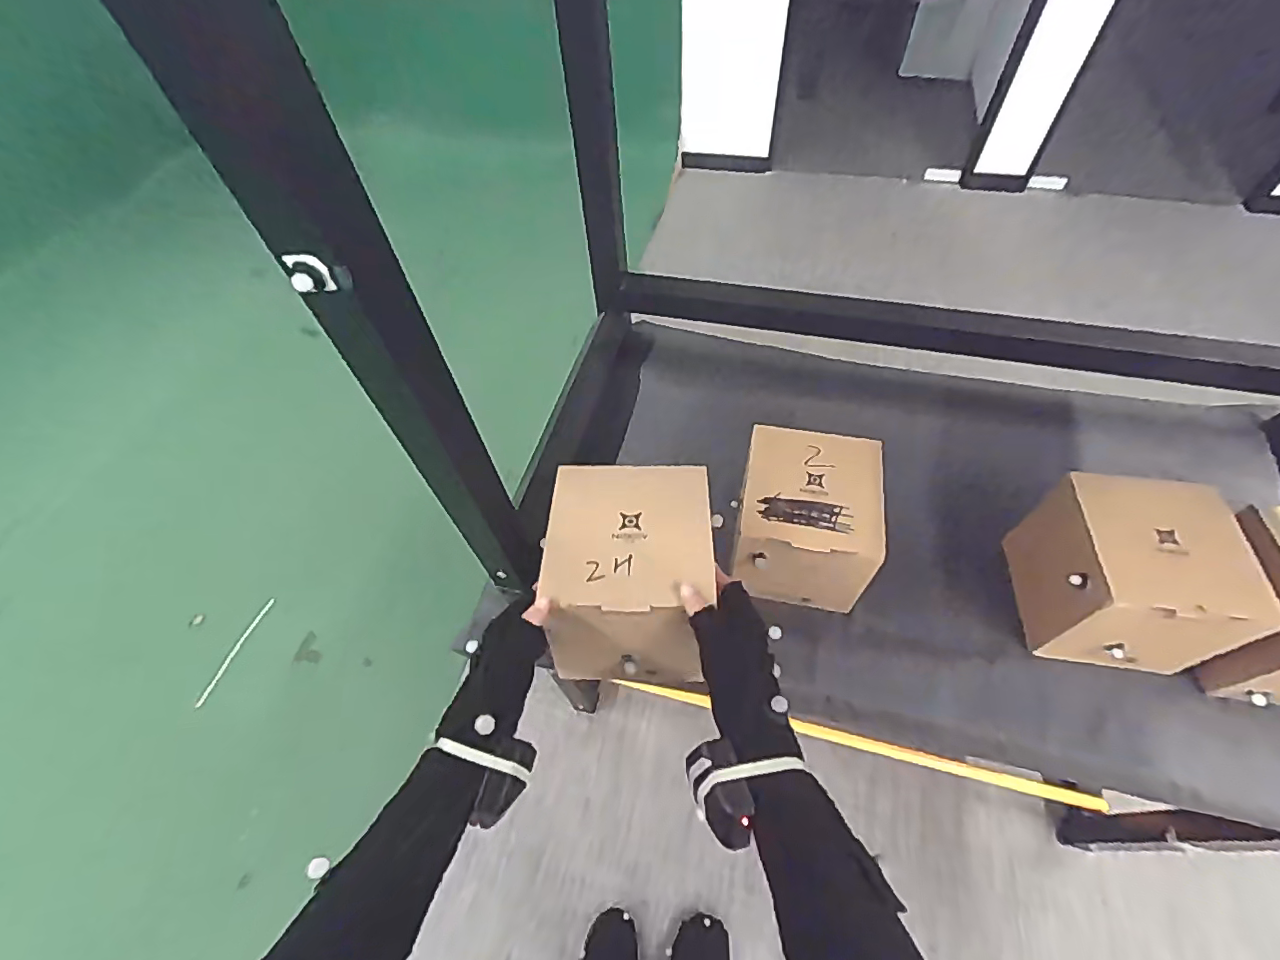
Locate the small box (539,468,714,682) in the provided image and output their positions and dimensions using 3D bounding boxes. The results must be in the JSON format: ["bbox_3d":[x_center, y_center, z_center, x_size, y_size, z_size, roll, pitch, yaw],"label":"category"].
[{"bbox_3d":[-0.008,0.105,0.609,0.168,0.176,0.179,0,47,3],"label":"small box"}]
